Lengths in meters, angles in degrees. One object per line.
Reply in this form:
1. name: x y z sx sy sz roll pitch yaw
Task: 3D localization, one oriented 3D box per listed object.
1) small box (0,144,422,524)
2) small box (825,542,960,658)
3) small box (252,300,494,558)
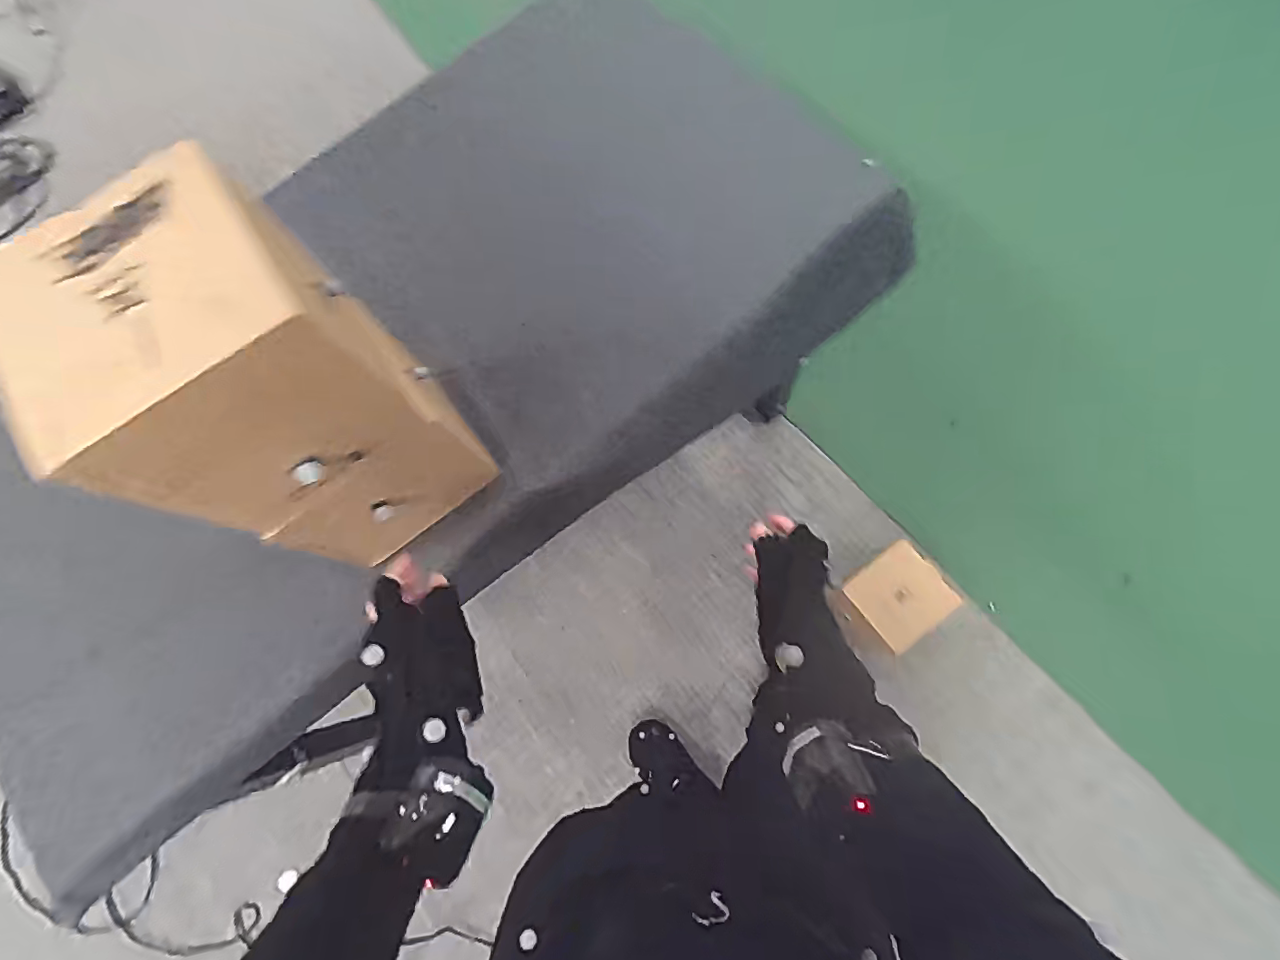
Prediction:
1. small box: -0.303 -0.091 0.404 0.168 0.176 0.179 -36 74 -6
2. small box: 0.528 0.258 1.161 0.179 0.176 0.168 -37 73 -4
3. small box: -0.285 -0.038 0.560 0.179 0.176 0.168 -37 74 -5
